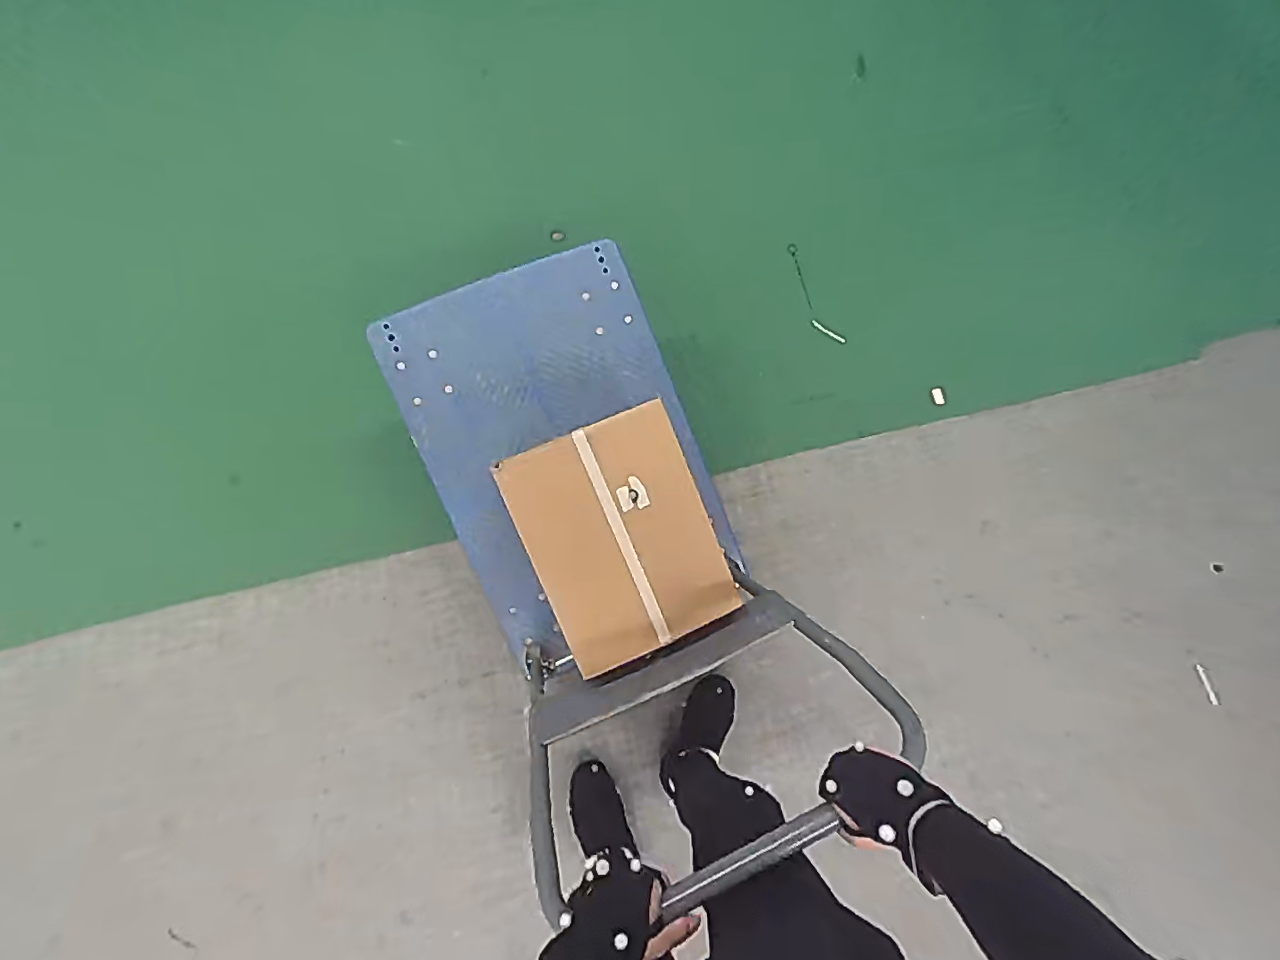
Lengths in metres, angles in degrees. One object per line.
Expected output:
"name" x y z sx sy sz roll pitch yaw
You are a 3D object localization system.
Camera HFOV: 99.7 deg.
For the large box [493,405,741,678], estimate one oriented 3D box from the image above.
"large box" -0.051 0.103 1.085 0.320 0.320 0.408 -24 96 -8
